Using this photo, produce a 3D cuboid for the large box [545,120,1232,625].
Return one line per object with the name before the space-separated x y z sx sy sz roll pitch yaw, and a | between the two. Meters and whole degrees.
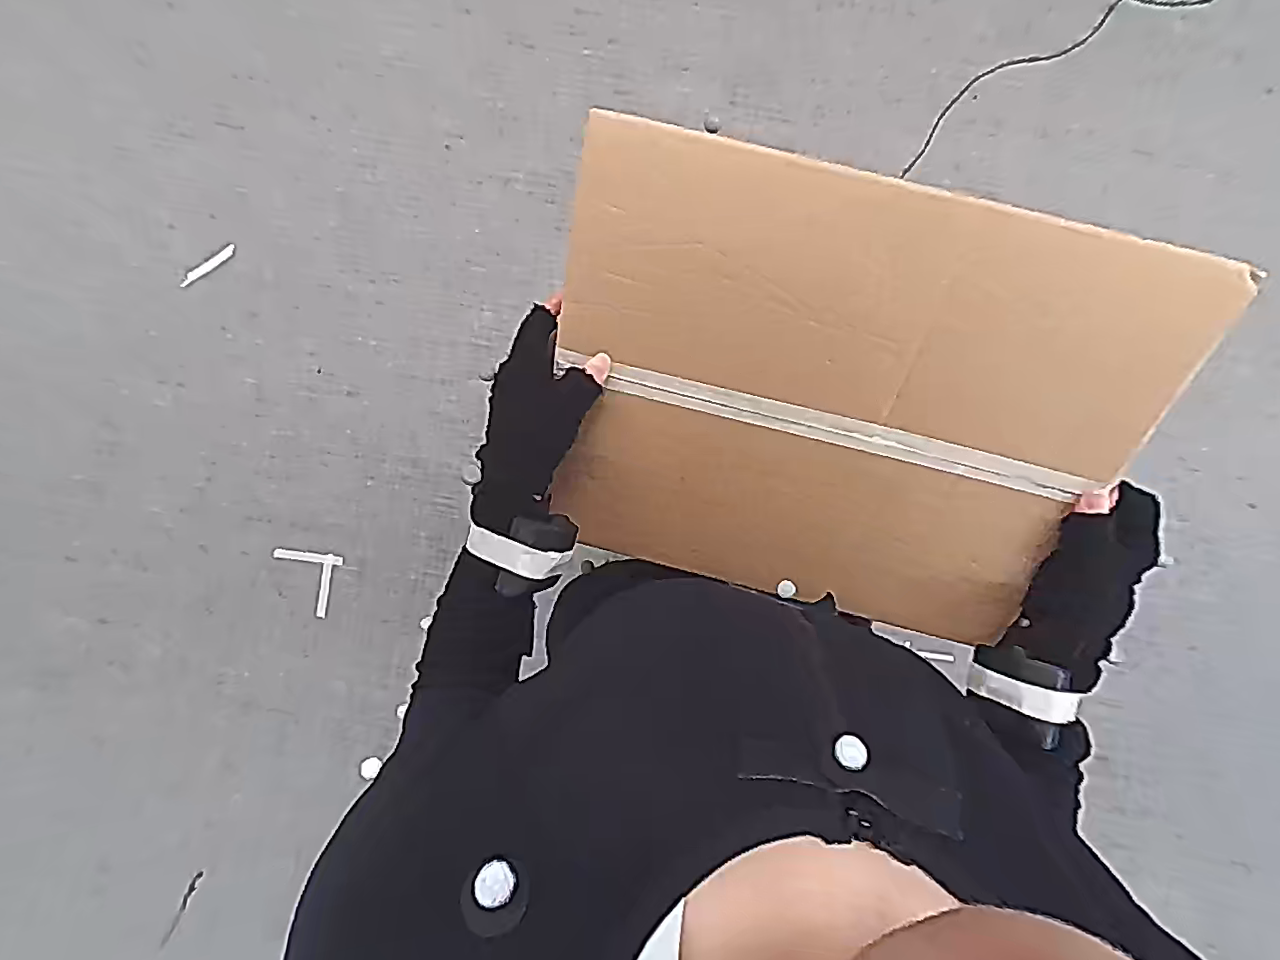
large box | 0.154 -0.118 0.531 0.408 0.320 0.320 14 120 1
